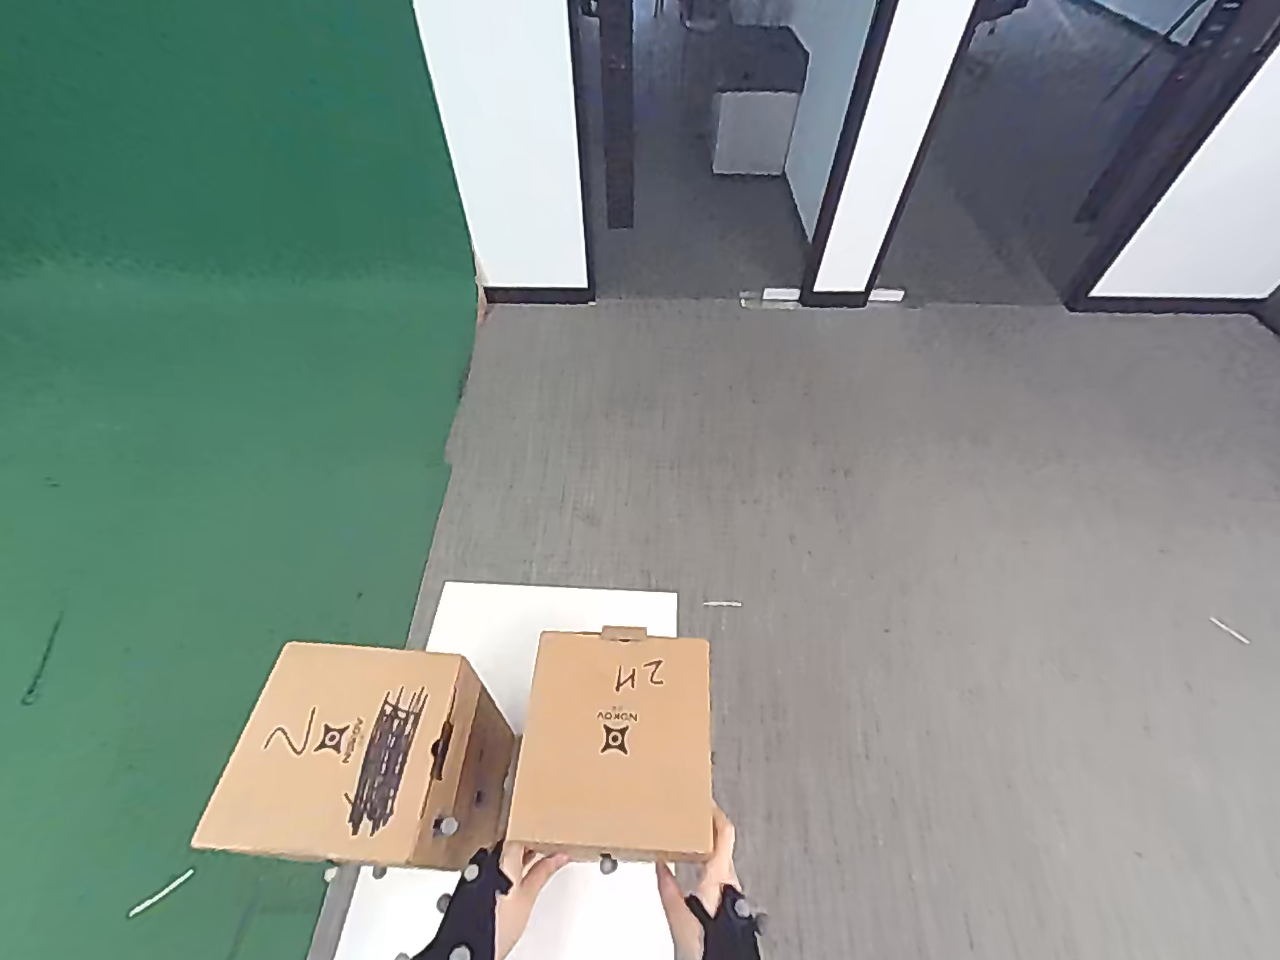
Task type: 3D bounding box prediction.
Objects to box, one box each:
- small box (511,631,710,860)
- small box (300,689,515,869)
[{"bbox_3d":[-0.018,0.271,0.545,0.168,0.176,0.179,3,52,2],"label":"small box"},{"bbox_3d":[-0.266,0.374,0.670,0.179,0.176,0.168,5,53,0],"label":"small box"}]
